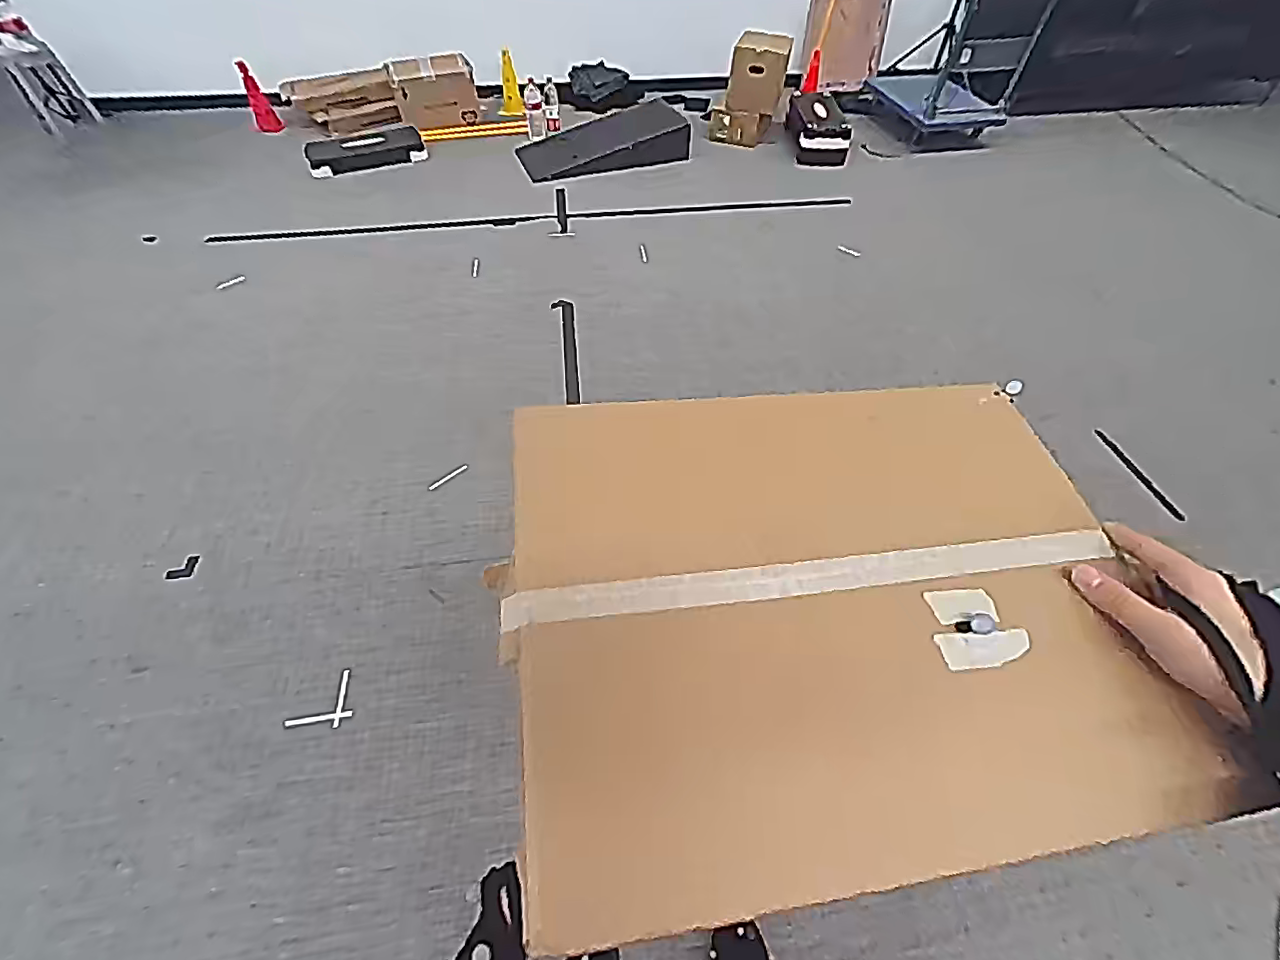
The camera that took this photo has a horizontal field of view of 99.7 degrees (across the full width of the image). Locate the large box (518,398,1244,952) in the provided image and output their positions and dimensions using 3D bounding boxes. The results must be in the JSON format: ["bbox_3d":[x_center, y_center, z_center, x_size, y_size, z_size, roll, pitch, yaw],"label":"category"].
[{"bbox_3d":[0.111,0.152,0.474,0.408,0.320,0.320,-4,57,-10],"label":"large box"}]
